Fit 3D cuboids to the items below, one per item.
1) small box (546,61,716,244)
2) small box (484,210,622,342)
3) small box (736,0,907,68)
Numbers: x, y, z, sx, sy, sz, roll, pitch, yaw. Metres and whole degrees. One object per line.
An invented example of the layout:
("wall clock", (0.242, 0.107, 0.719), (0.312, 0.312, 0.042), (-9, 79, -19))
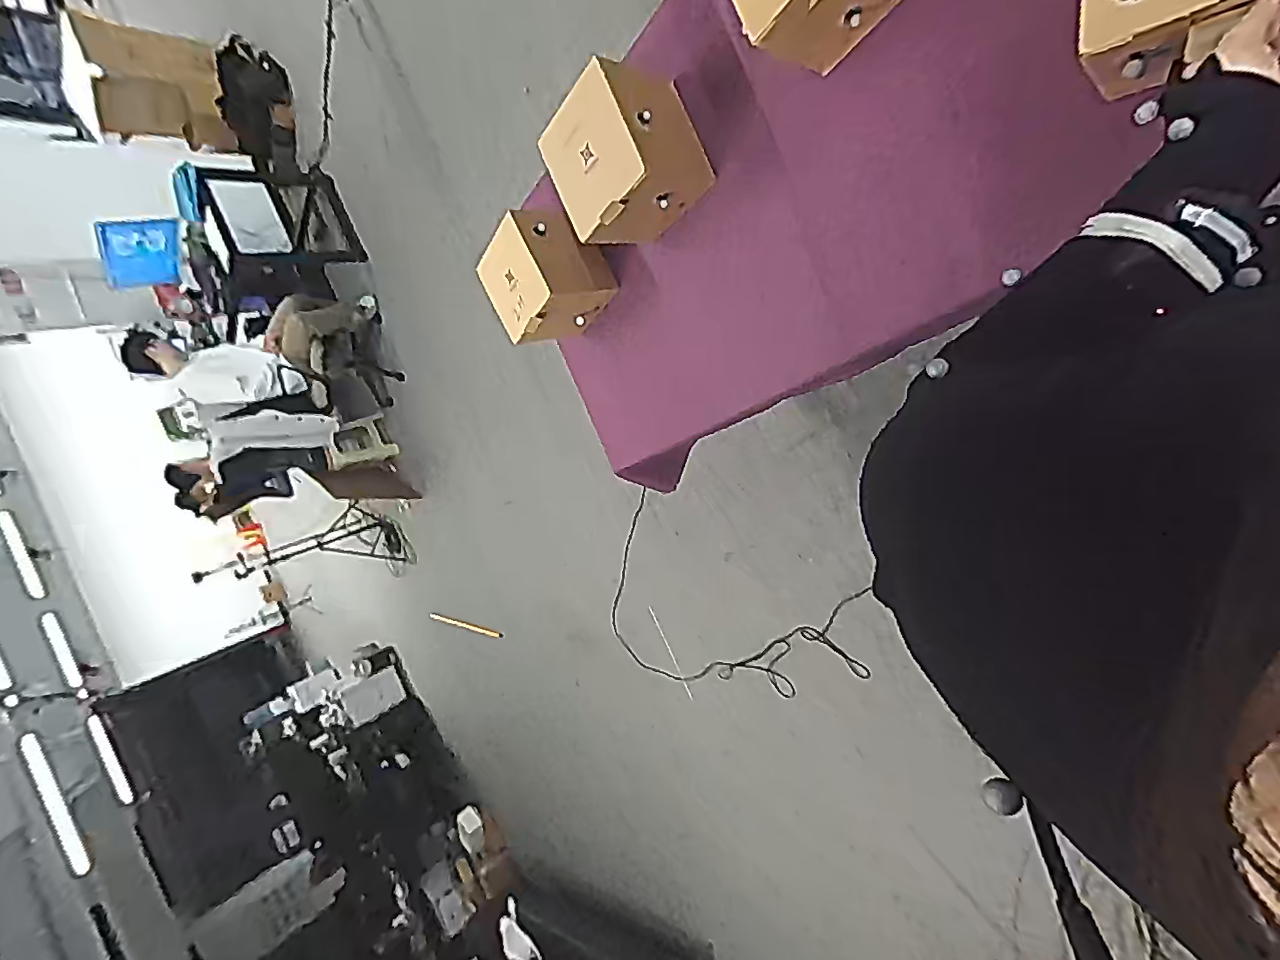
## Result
("small box", (-0.009, -0.495, 0.844), (0.168, 0.176, 0.179), (-23, 90, 47))
("small box", (-0.168, -0.393, 1.053), (0.168, 0.176, 0.179), (-31, 84, 48))
("small box", (0.198, -0.594, 0.582), (0.168, 0.176, 0.179), (-25, 89, 49))
